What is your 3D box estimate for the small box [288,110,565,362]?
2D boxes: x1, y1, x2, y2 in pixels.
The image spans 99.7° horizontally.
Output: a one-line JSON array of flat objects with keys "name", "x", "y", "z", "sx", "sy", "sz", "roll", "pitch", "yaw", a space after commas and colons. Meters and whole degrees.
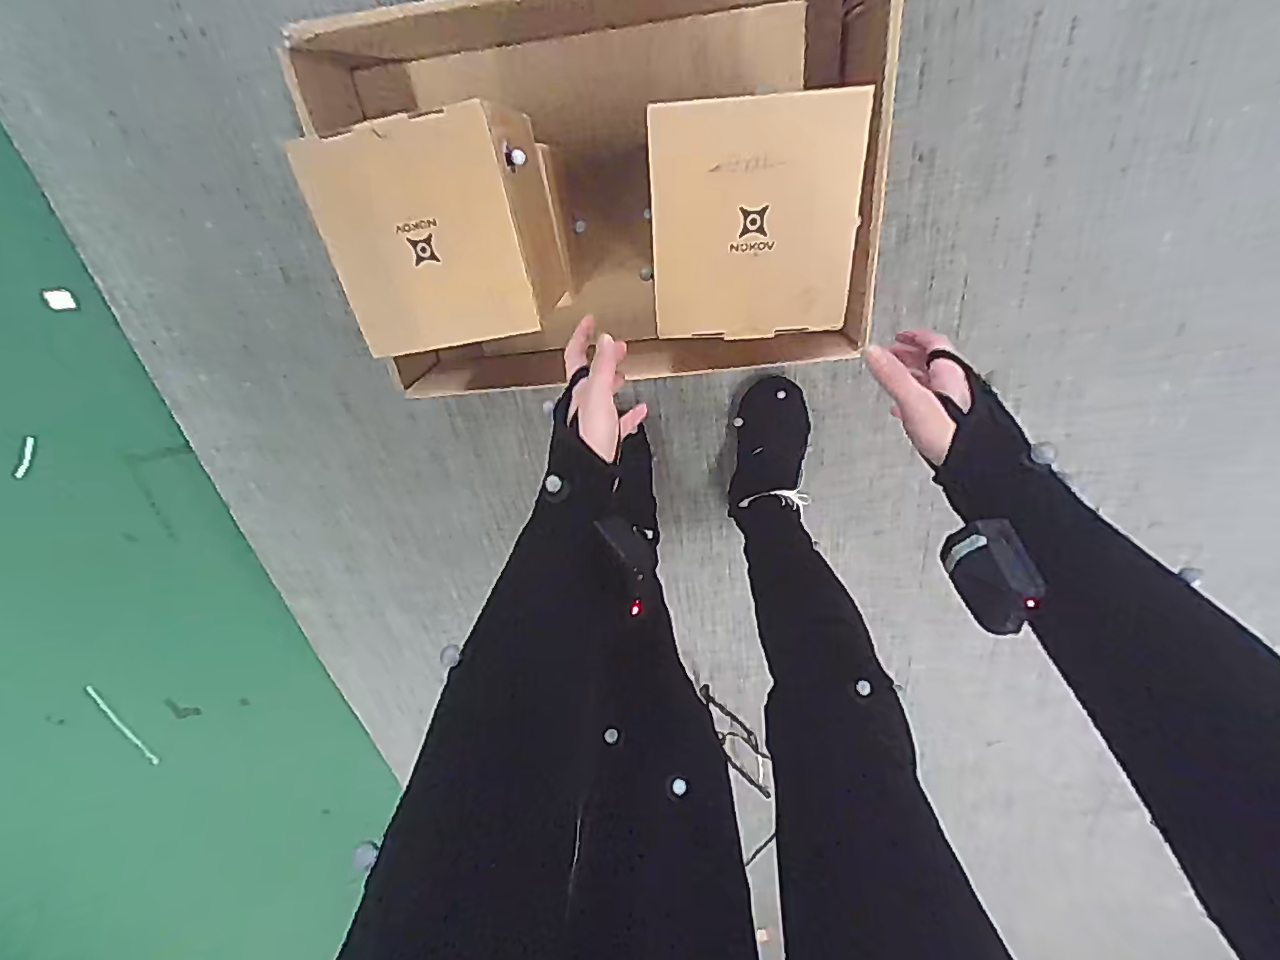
[{"name": "small box", "x": -0.180, "y": -0.234, "z": 0.526, "sx": 0.168, "sy": 0.176, "sz": 0.179, "roll": -8, "pitch": 118, "yaw": 7}]

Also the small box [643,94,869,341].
[{"name": "small box", "x": 0.092, "y": -0.241, "z": 0.503, "sx": 0.168, "sy": 0.176, "sz": 0.179, "roll": -2, "pitch": 120, "yaw": 4}]
